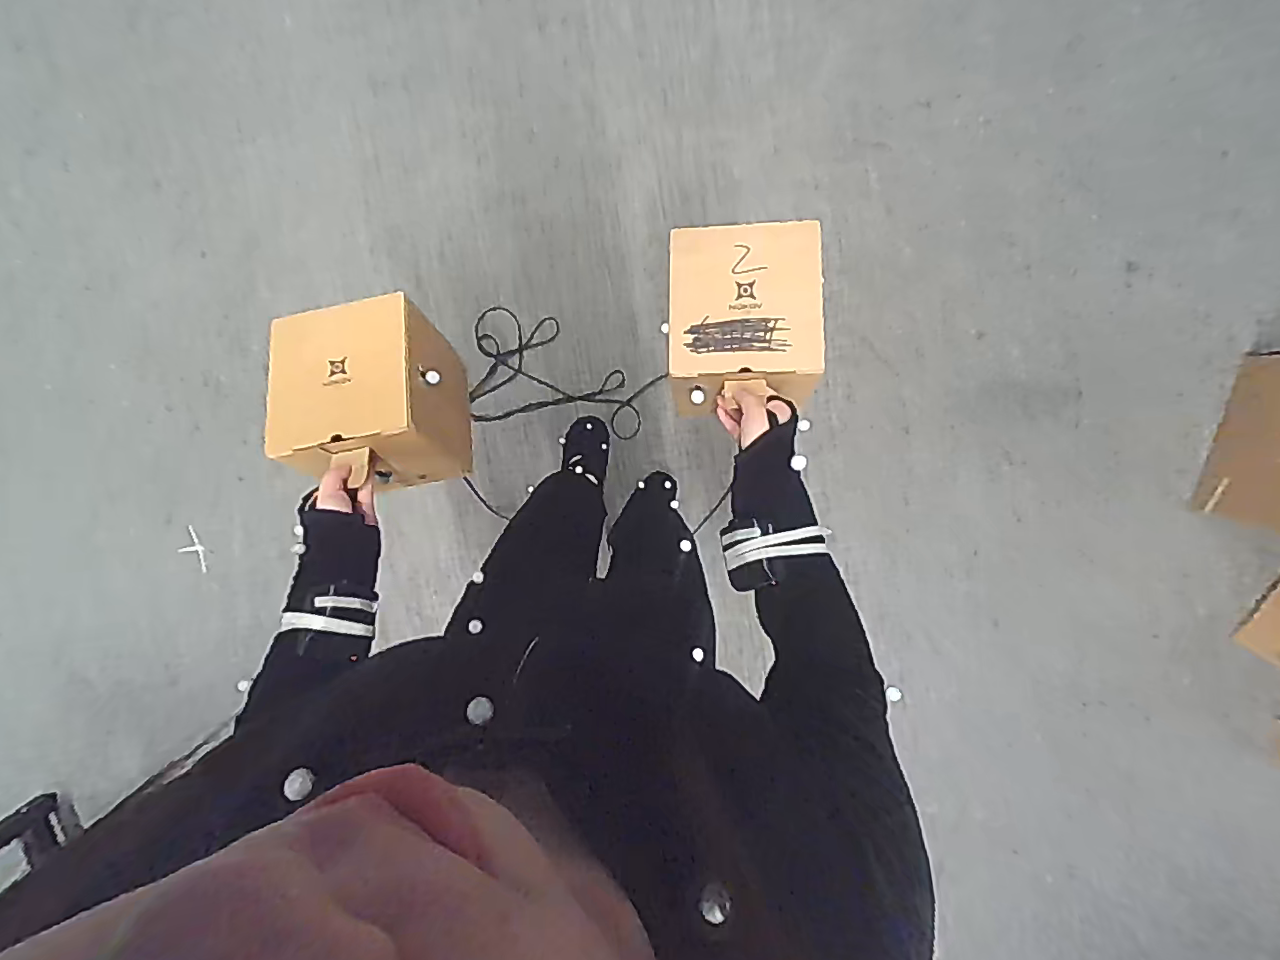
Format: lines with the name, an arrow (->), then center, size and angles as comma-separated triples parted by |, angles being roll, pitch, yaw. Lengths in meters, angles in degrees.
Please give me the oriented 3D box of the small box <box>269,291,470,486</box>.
small box -> -0.329, -0.106, 0.689 | 0.168, 0.176, 0.179 | -9, 74, 4
